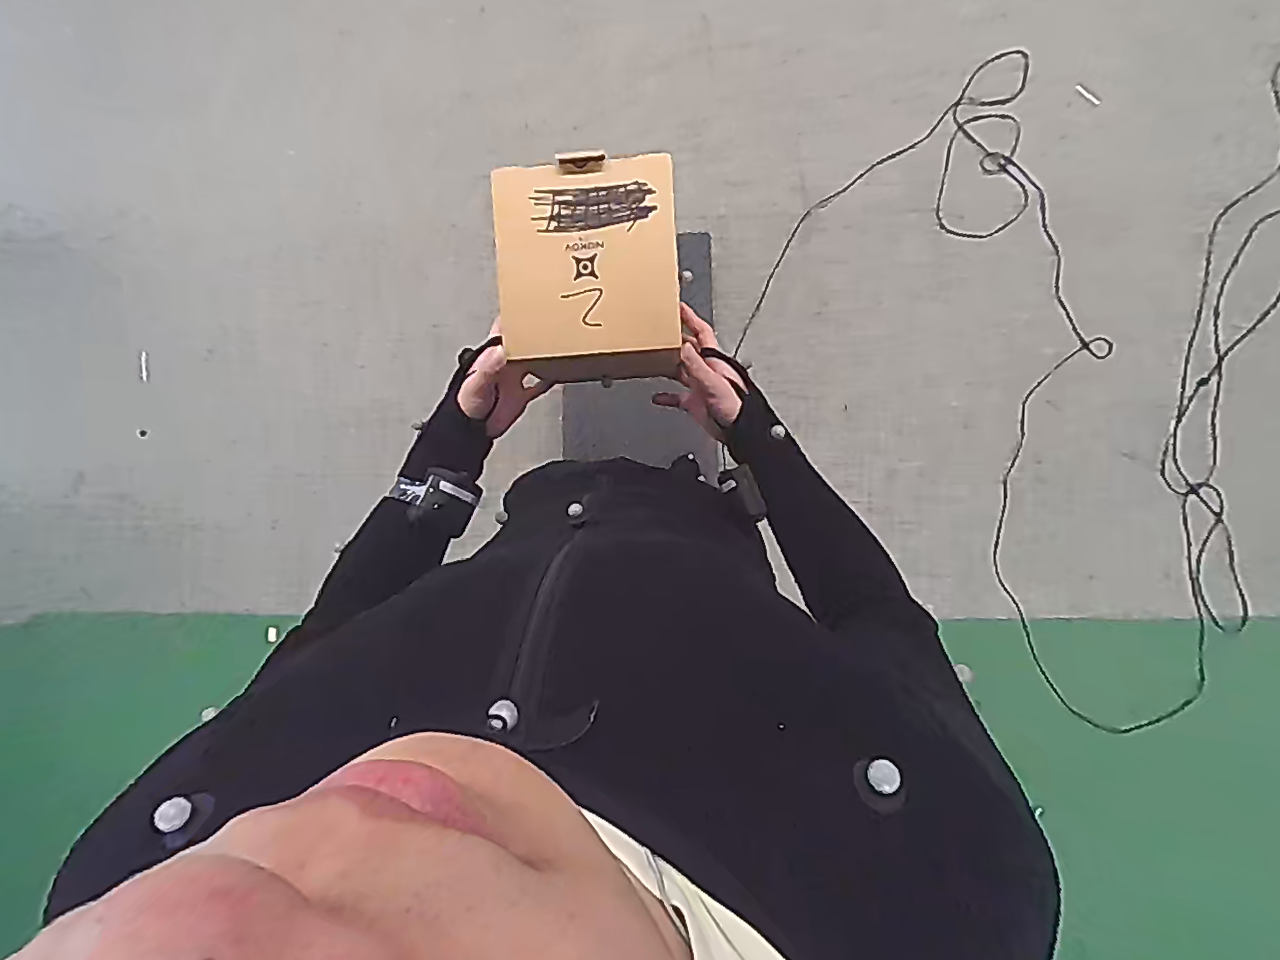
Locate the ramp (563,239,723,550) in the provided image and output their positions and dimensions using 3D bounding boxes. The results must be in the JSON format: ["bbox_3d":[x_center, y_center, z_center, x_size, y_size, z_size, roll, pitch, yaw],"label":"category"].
[{"bbox_3d":[-0.002,-0.284,1.708,0.509,0.206,0.991,-3,92,4],"label":"ramp"}]
